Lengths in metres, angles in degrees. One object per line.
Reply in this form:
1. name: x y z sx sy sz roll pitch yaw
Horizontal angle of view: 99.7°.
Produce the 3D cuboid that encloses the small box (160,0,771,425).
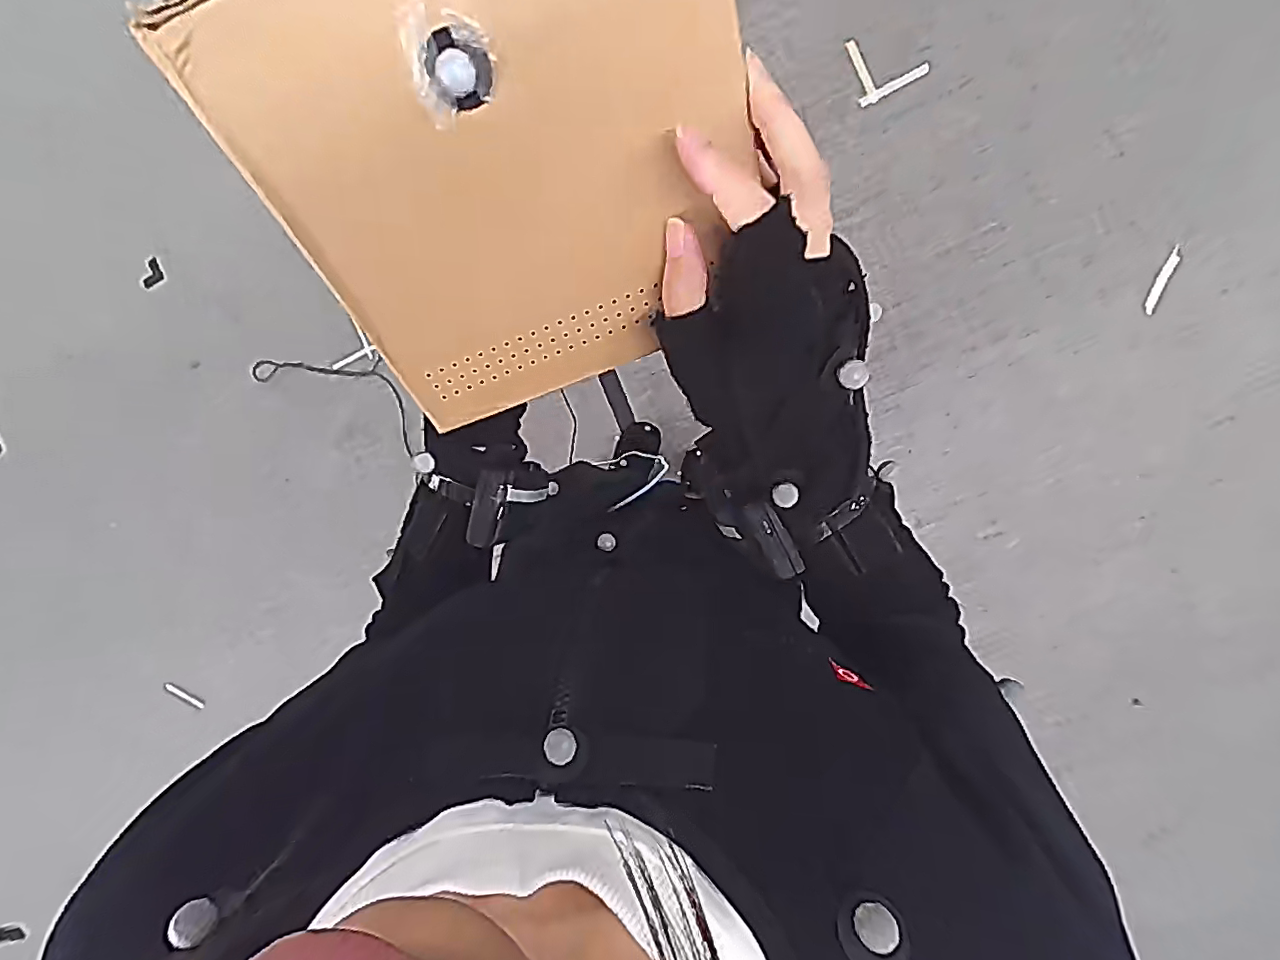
1. small box: -0.052 -0.154 0.266 0.179 0.168 0.176 -19 134 6
